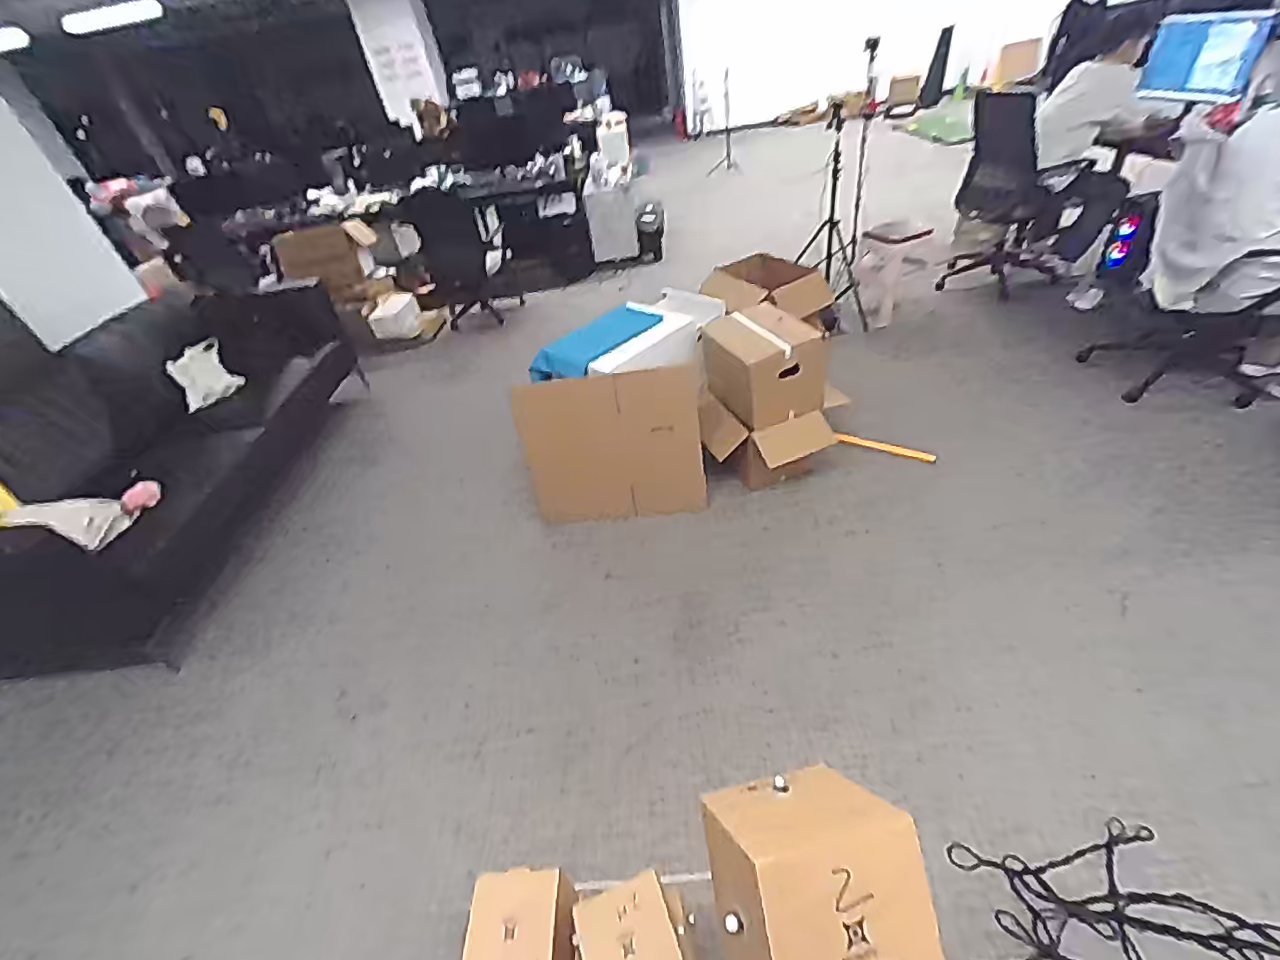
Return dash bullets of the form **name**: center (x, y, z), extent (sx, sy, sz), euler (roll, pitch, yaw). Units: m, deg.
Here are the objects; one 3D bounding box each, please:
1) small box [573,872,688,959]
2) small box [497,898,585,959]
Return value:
- **small box**: center (-0.006, 0.861, 0.976), extent (0.168, 0.176, 0.179), euler (-20, 39, -9)
- **small box**: center (-0.187, 0.993, 1.120), extent (0.179, 0.176, 0.168), euler (-9, 38, 4)
